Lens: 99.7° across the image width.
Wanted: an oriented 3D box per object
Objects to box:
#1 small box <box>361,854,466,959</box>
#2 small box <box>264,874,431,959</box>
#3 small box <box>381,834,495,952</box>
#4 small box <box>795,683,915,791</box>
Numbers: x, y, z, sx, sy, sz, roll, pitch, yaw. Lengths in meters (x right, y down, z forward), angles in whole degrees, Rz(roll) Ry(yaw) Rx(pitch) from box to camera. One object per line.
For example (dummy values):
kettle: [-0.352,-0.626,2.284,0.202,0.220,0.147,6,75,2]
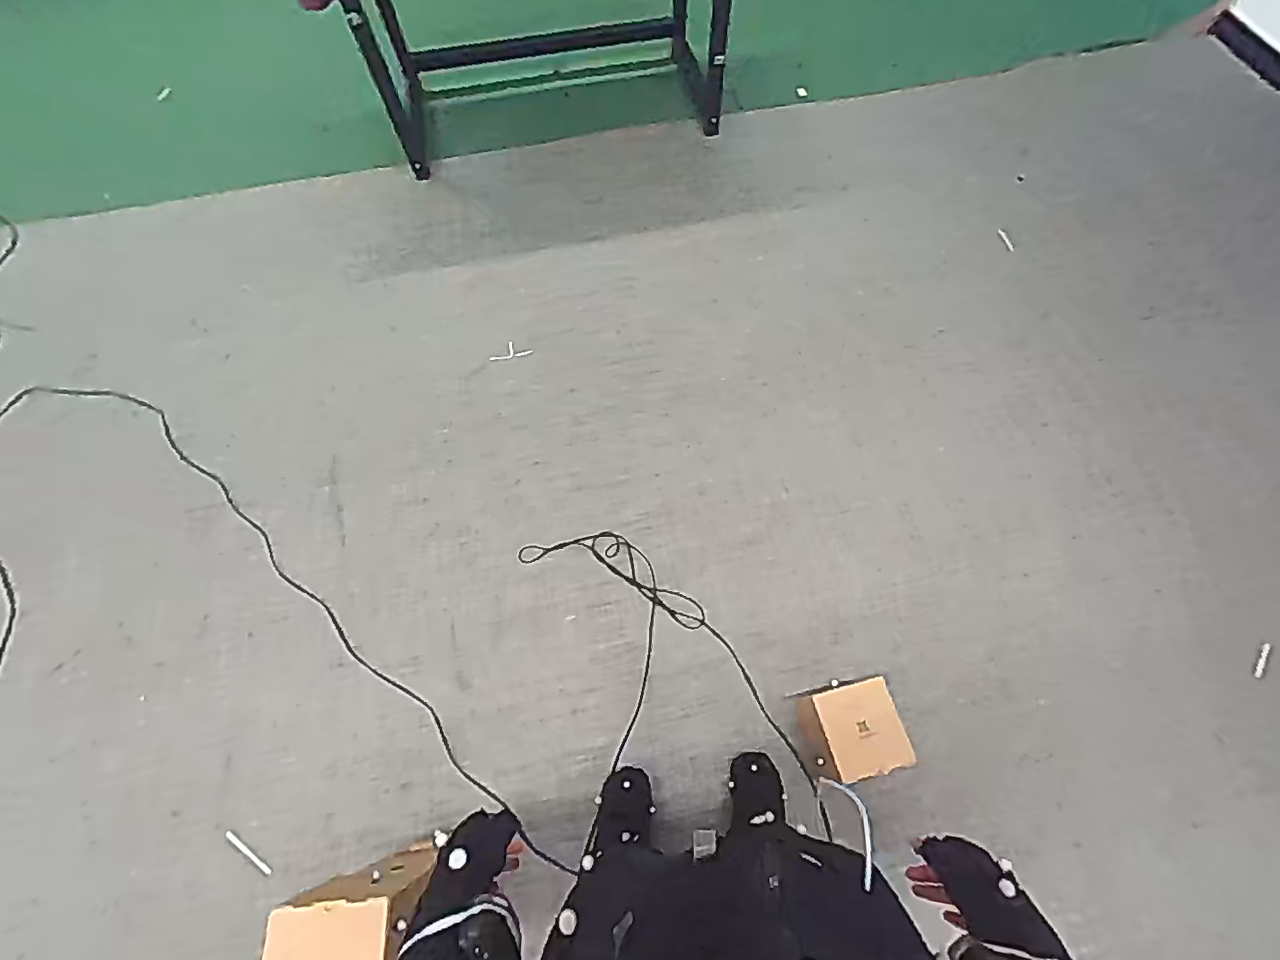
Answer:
small box: [-0.409,0.772,0.936,0.168,0.176,0.179,-9,67,-3]
small box: [-0.420,0.706,0.787,0.168,0.176,0.179,-5,65,-1]
small box: [-0.402,0.835,1.090,0.168,0.176,0.179,-13,65,-2]
small box: [0.464,0.563,1.198,0.168,0.176,0.179,-13,66,-6]
